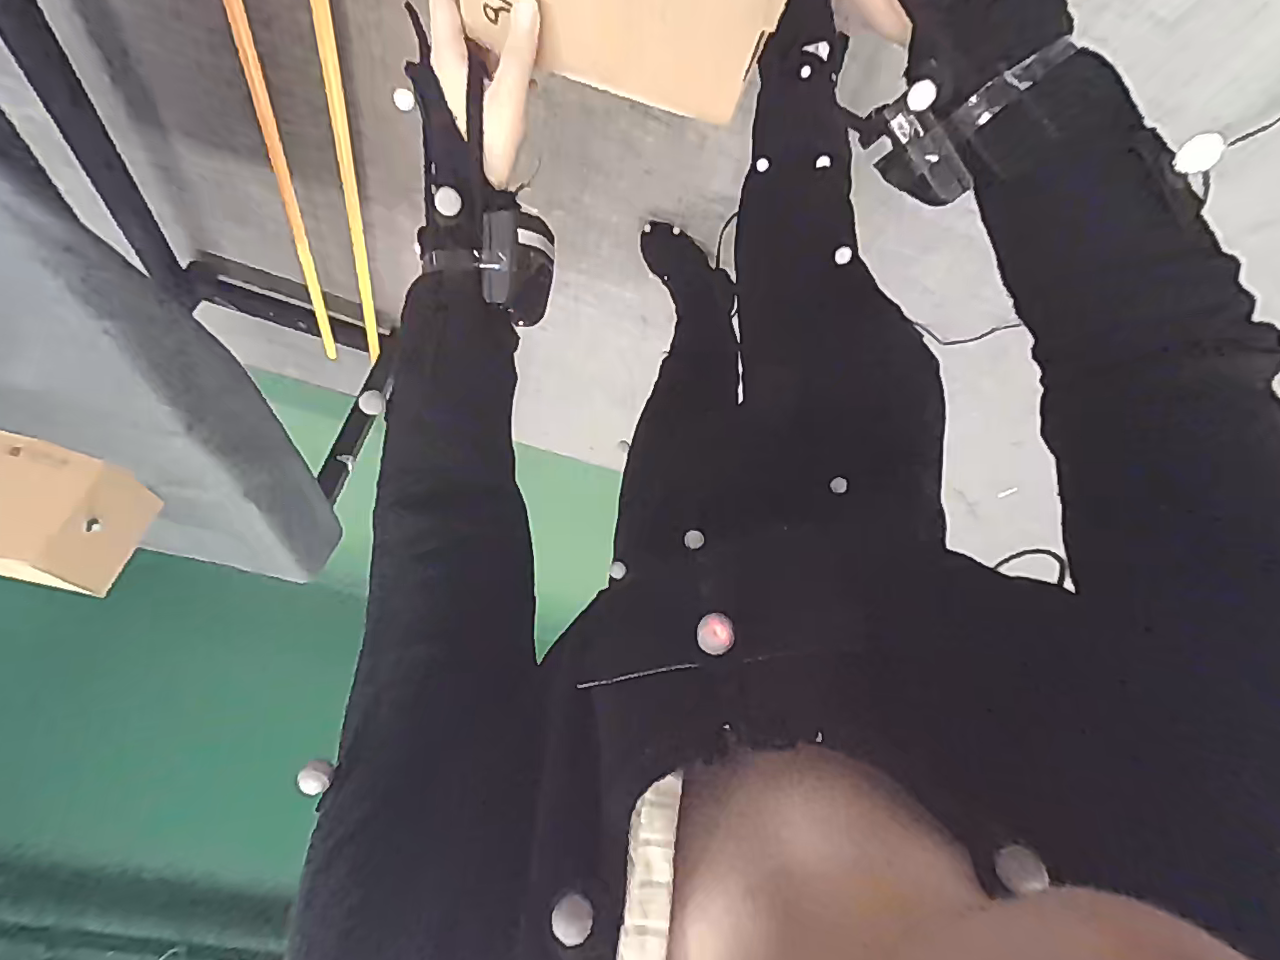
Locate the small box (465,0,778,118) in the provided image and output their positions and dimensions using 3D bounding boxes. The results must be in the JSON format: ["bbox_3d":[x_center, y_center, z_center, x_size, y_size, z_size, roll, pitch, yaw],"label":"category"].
[{"bbox_3d":[0.006,-0.355,0.296,0.179,0.176,0.168,13,160,-7],"label":"small box"}]

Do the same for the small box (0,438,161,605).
[{"bbox_3d":[-0.855,0.061,0.774,0.168,0.176,0.179,18,151,-11],"label":"small box"}]
